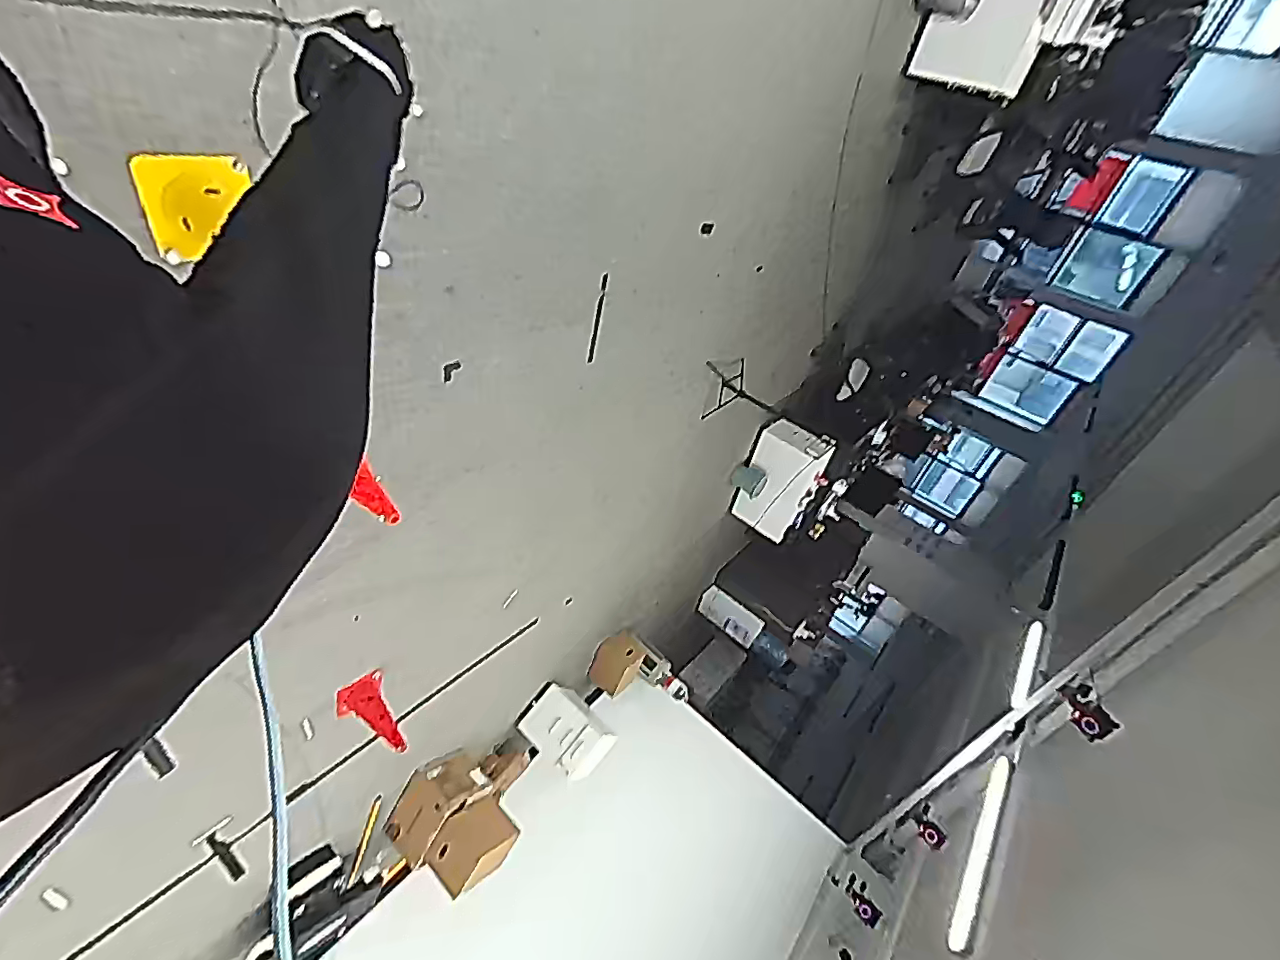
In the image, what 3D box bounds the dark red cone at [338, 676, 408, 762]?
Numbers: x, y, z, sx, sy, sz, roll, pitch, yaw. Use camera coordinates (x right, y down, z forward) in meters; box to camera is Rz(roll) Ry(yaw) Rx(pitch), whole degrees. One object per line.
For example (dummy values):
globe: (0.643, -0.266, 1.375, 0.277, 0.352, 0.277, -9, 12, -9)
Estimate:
dark red cone: (-1.130, 1.065, 2.347, 0.201, 0.394, 0.202, -24, 141, -47)
